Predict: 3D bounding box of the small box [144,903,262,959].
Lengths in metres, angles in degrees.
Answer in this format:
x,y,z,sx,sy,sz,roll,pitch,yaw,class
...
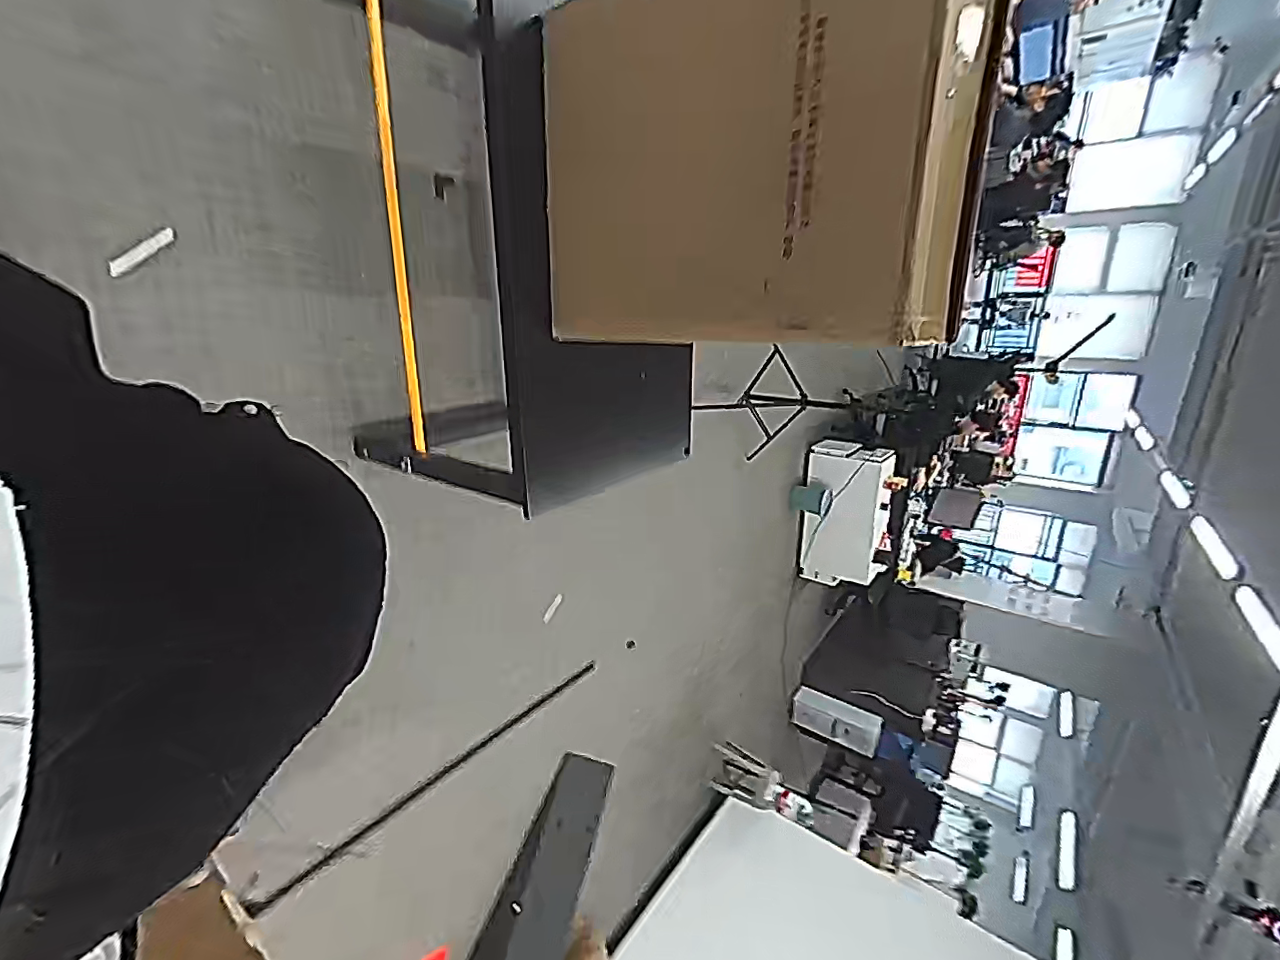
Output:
x,y,z,sx,sy,sz,roll,pitch,yaw,class
-0.834,0.972,1.041,0.168,0.176,0.179,-34,126,-45,small box

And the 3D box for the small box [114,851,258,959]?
x,y,z,sx,sy,sz,roll,pitch,yaw,class
-0.958,0.944,1.145,0.168,0.176,0.179,-32,125,-47,small box
